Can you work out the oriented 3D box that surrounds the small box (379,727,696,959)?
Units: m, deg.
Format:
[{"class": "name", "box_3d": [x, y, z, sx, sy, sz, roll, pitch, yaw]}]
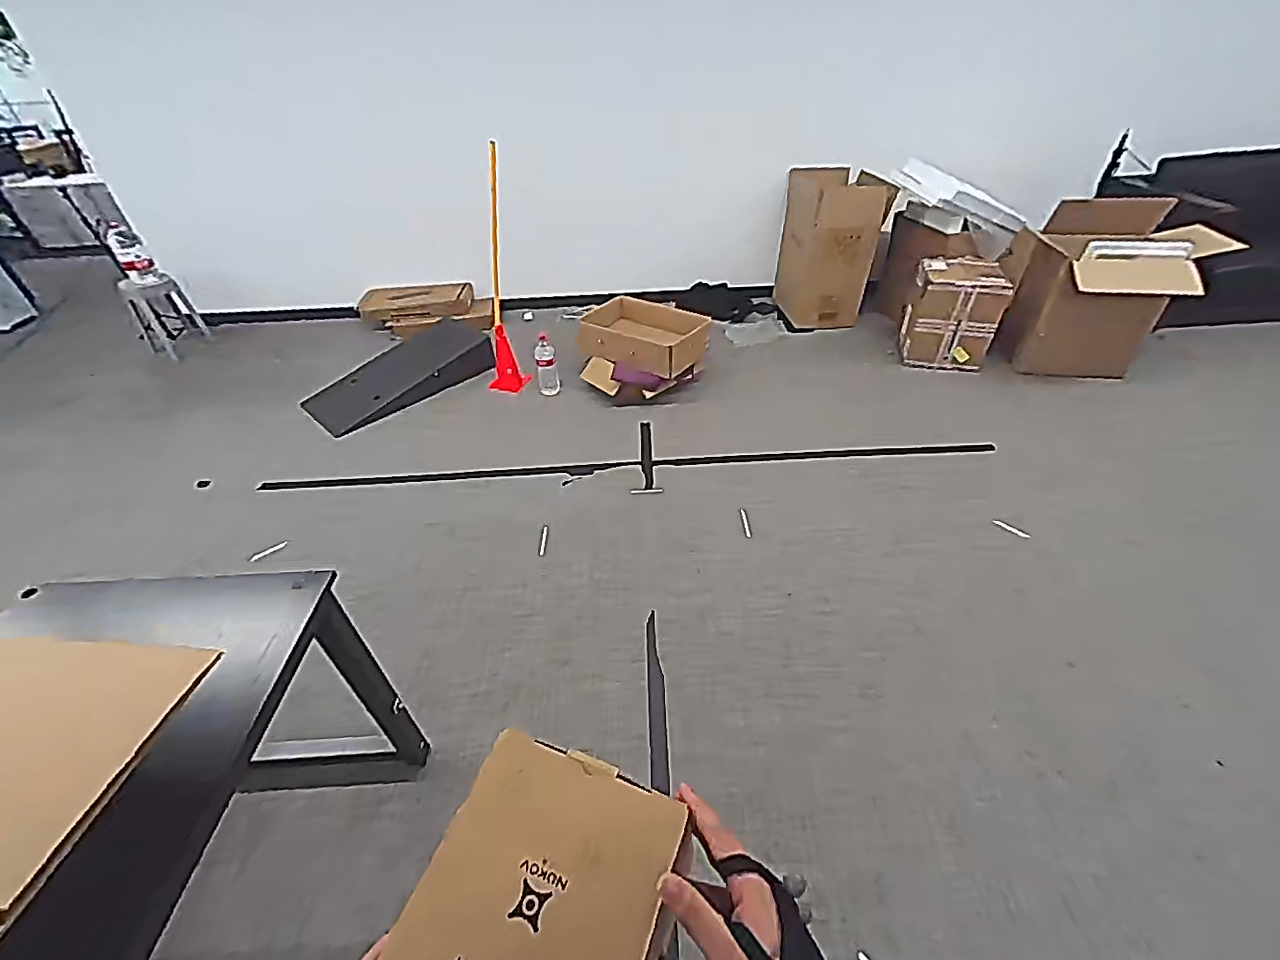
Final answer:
[{"class": "small box", "box_3d": [-0.060, 0.340, 0.432, 0.168, 0.176, 0.179, 13, 47, 20]}]
